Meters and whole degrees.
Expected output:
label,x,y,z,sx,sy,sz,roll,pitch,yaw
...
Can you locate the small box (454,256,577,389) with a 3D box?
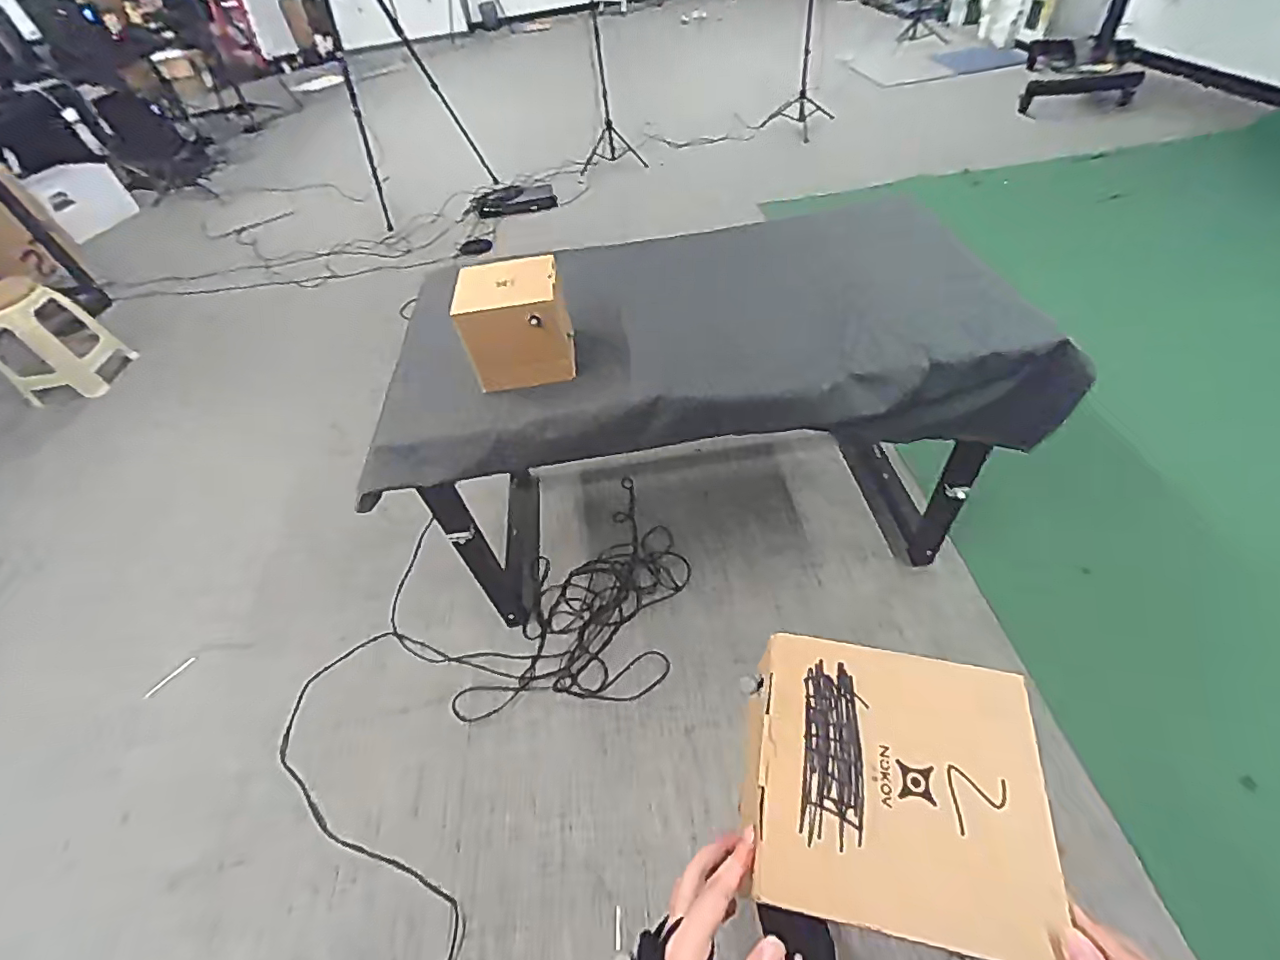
label,x,y,z,sx,sy,sz,roll,pitch,yaw
small box,-0.219,-0.285,0.995,0.179,0.176,0.168,-8,48,0
